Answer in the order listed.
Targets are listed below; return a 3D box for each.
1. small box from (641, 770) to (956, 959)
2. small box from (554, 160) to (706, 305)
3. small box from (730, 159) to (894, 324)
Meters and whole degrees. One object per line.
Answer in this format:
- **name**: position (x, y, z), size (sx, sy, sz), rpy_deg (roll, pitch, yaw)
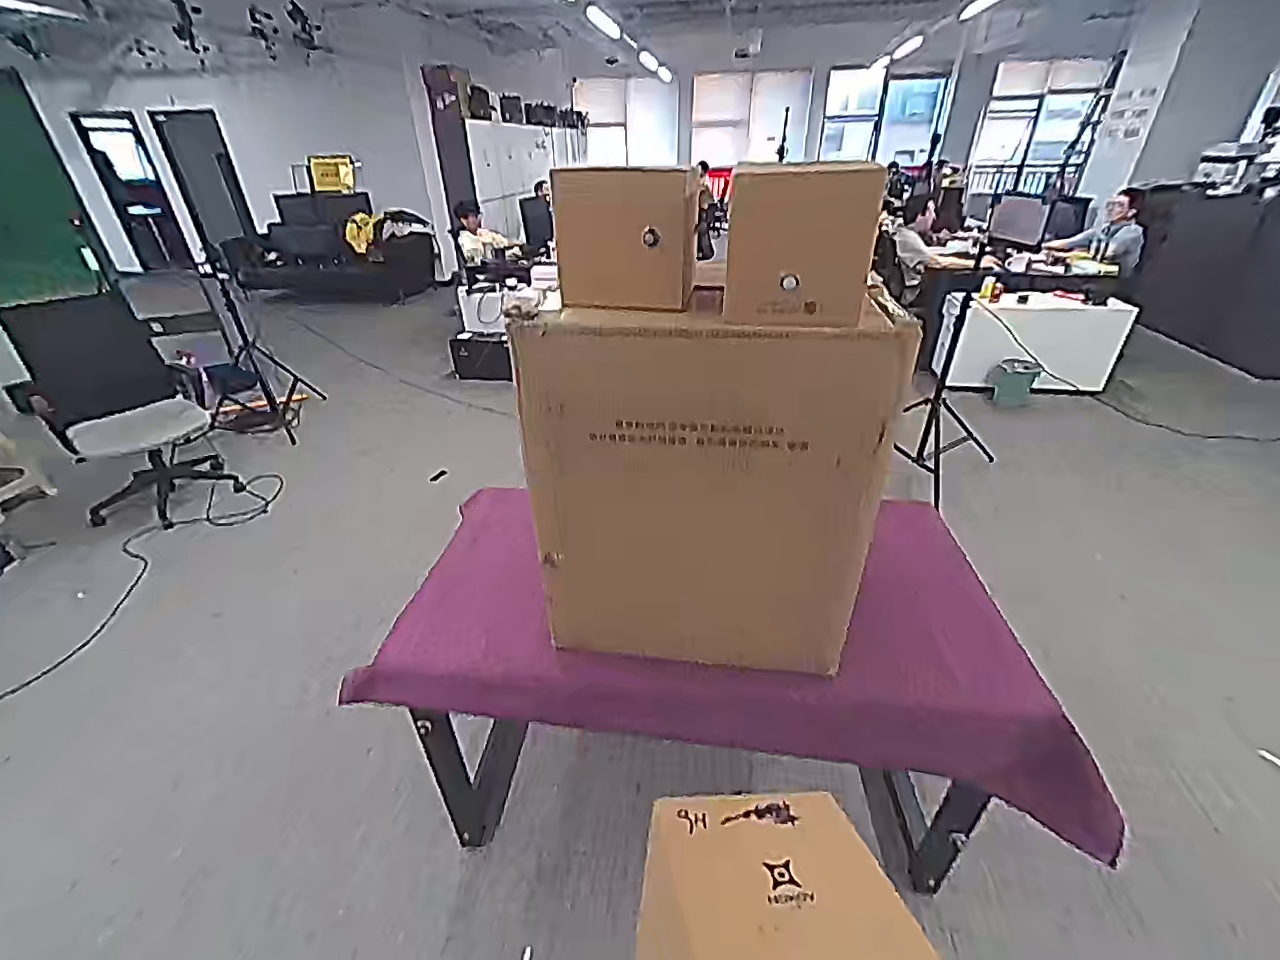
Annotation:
- **small box**: position (0.098, 0.354, 0.404), size (0.168, 0.176, 0.179), rpy_deg (4, 13, -10)
- **small box**: position (-0.006, -0.349, 0.760), size (0.179, 0.176, 0.168), rpy_deg (5, 31, 10)
- **small box**: position (0.204, -0.307, 0.686), size (0.168, 0.176, 0.179), rpy_deg (4, 32, 11)
